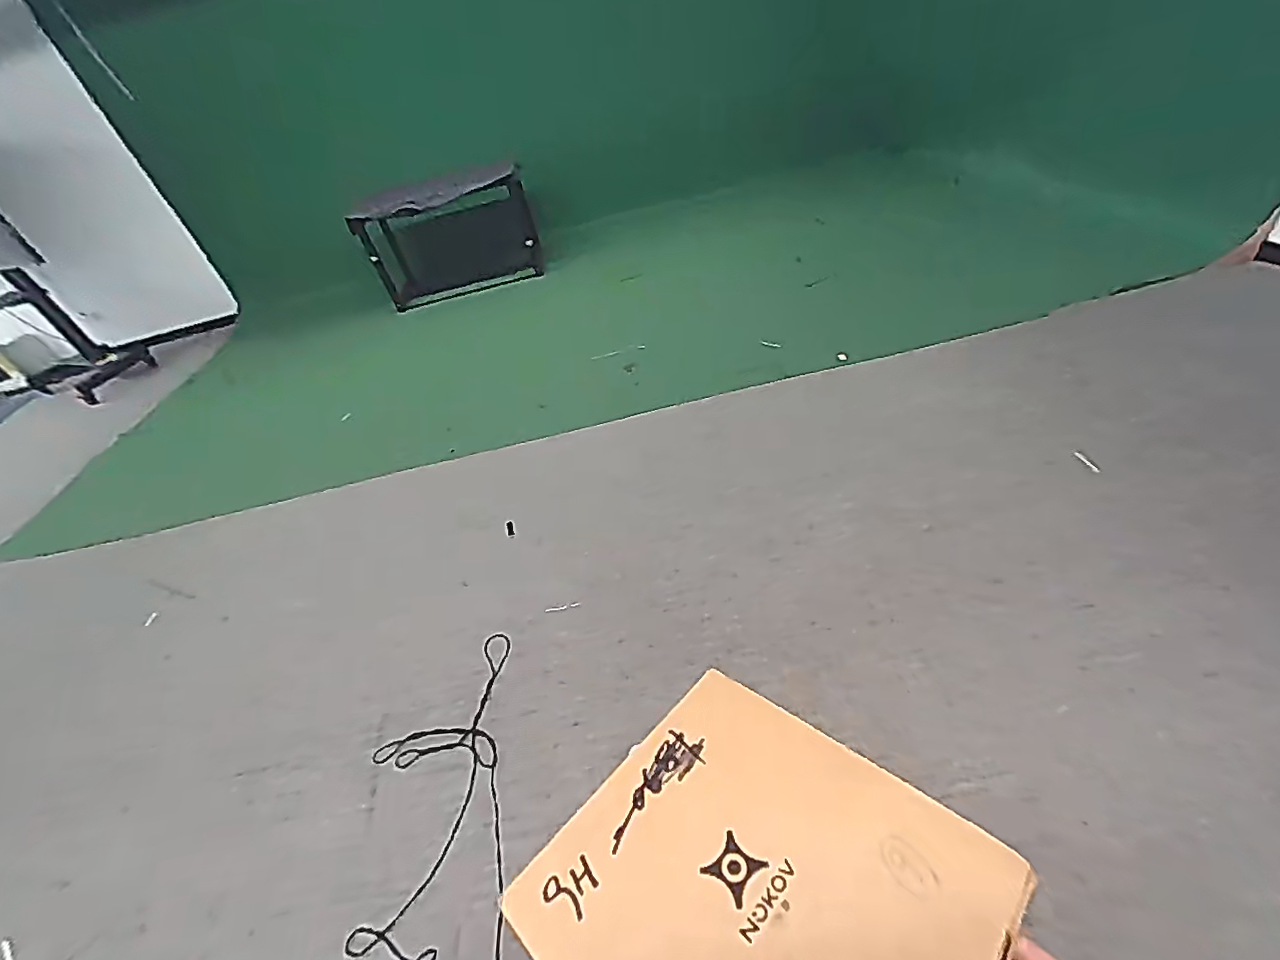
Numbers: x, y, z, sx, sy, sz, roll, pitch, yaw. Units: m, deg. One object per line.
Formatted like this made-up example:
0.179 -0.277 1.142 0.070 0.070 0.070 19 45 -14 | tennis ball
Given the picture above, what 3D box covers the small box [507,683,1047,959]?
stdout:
0.066 0.254 0.279 0.168 0.176 0.179 -33 36 -31 | small box
